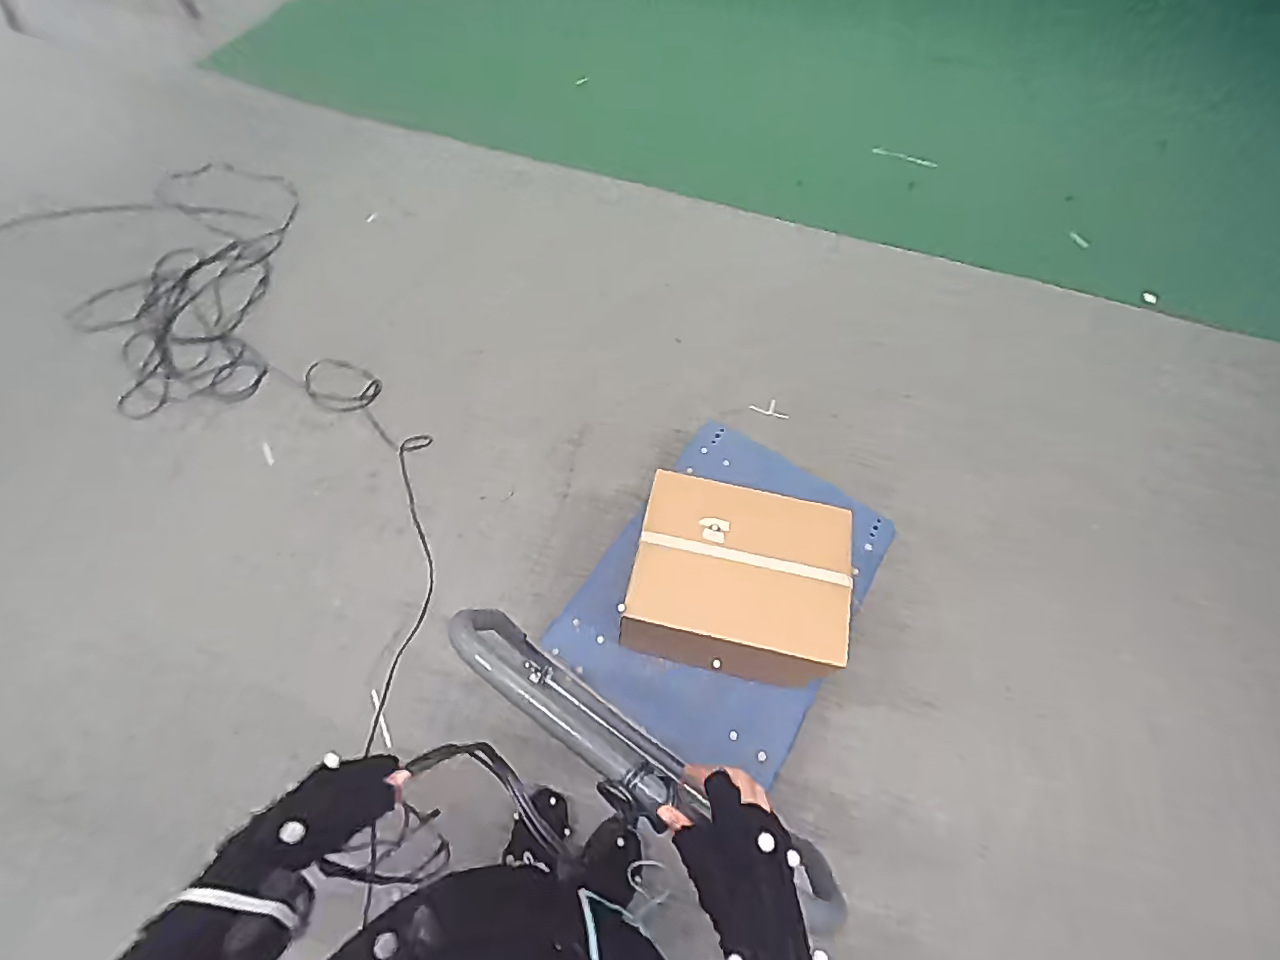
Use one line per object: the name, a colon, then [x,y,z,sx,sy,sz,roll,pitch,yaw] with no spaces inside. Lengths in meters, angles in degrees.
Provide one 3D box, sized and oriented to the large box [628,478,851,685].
large box: [0.201,0.231,1.168,0.408,0.320,0.320,12,61,4]
